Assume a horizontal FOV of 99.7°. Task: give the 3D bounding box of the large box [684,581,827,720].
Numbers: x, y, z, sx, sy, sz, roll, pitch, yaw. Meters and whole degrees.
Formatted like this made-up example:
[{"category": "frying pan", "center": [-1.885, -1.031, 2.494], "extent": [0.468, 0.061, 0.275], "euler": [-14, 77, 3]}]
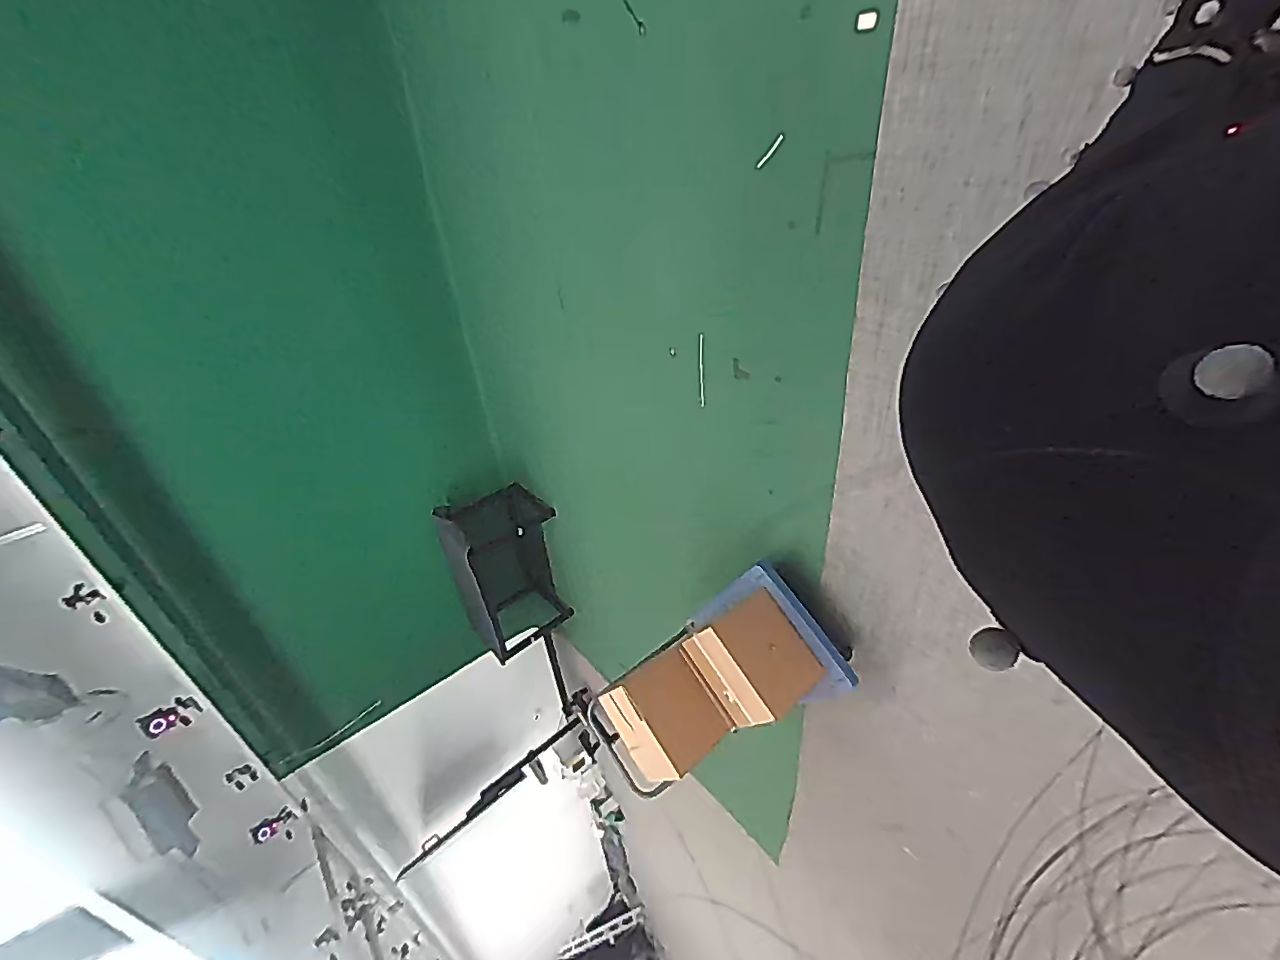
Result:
[{"category": "large box", "center": [0.458, 0.688, 2.189], "extent": [0.408, 0.320, 0.320], "euler": [54, 150, 13]}]
